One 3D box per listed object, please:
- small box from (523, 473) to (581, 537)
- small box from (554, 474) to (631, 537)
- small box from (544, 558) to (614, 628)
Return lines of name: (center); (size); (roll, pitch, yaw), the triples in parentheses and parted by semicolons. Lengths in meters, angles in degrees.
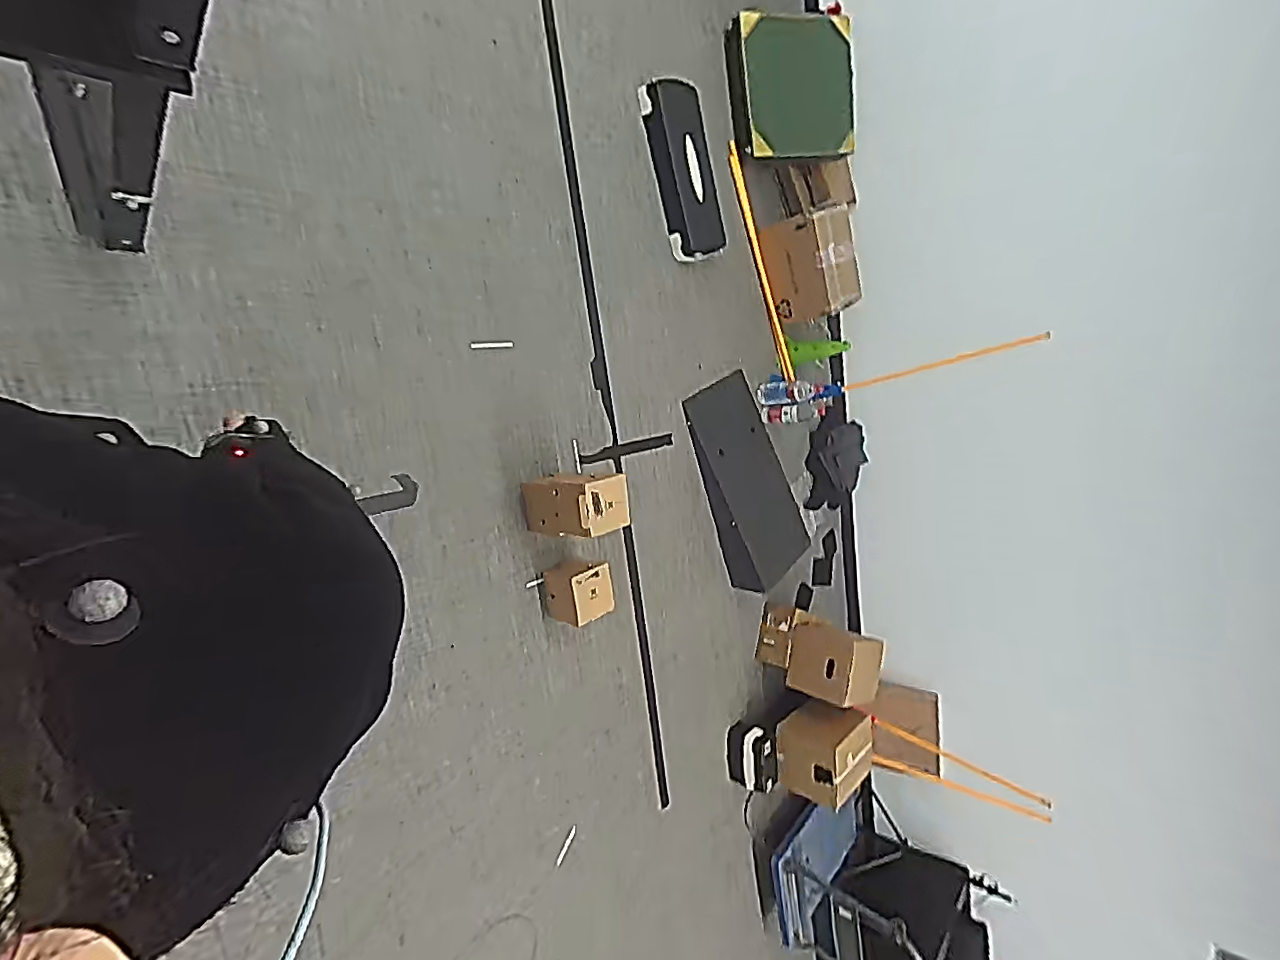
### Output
small box: (-0.269, 0.078, 1.806); (0.168, 0.176, 0.179); (-19, 105, -44)
small box: (-0.155, 0.074, 1.688); (0.179, 0.176, 0.168); (-16, 104, -46)
small box: (-0.214, 0.385, 1.876); (0.168, 0.176, 0.179); (-17, 105, -44)
